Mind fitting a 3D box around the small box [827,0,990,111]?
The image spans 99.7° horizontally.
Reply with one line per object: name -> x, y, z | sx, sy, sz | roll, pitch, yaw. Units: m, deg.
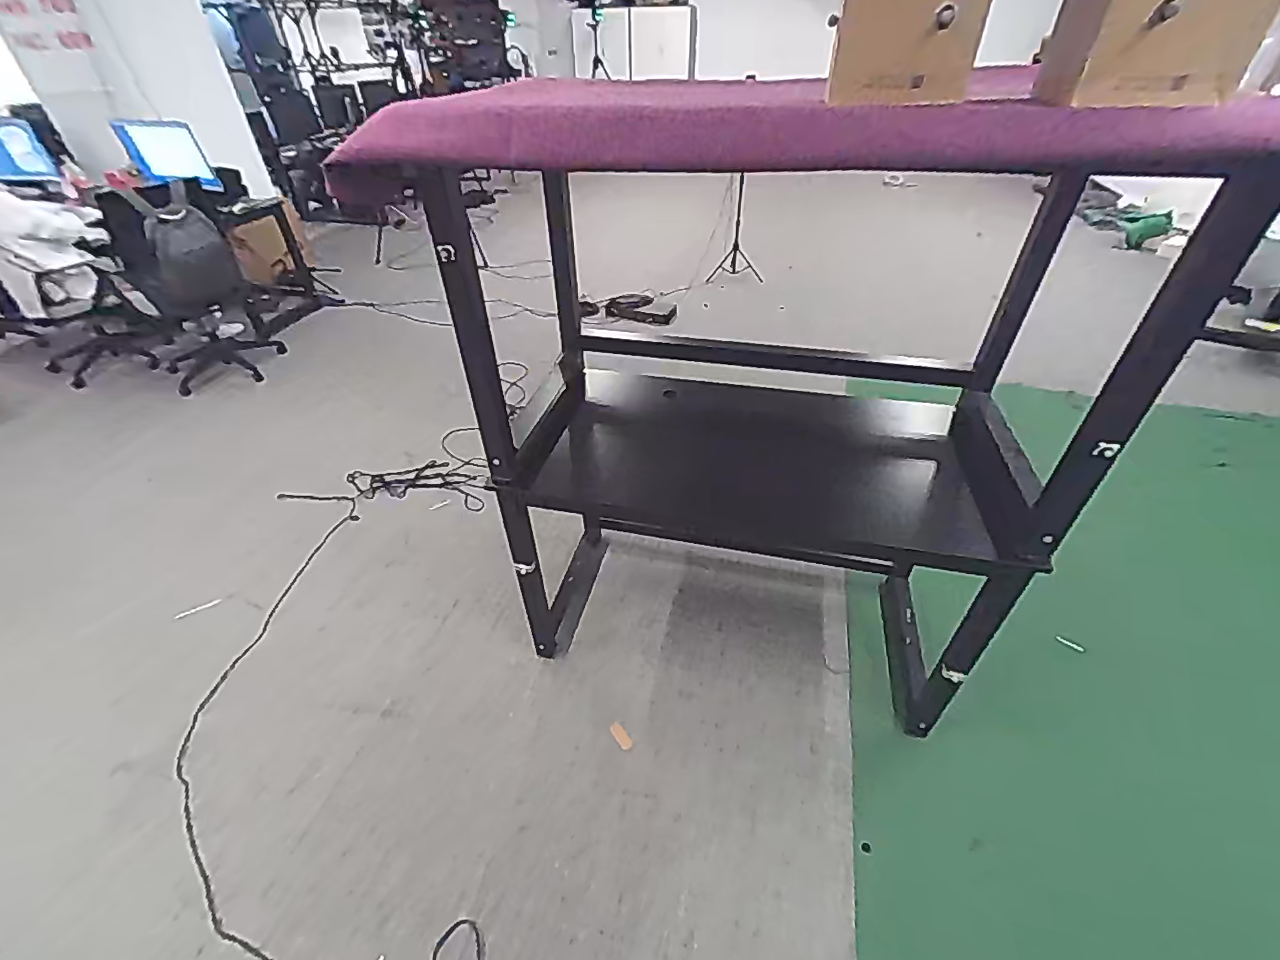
small box -> 0.351, -0.596, 0.717 | 0.168, 0.176, 0.179 | 9, 38, 11

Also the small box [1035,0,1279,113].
small box -> 0.622, -0.552, 0.655 | 0.168, 0.176, 0.179 | 8, 40, 13
